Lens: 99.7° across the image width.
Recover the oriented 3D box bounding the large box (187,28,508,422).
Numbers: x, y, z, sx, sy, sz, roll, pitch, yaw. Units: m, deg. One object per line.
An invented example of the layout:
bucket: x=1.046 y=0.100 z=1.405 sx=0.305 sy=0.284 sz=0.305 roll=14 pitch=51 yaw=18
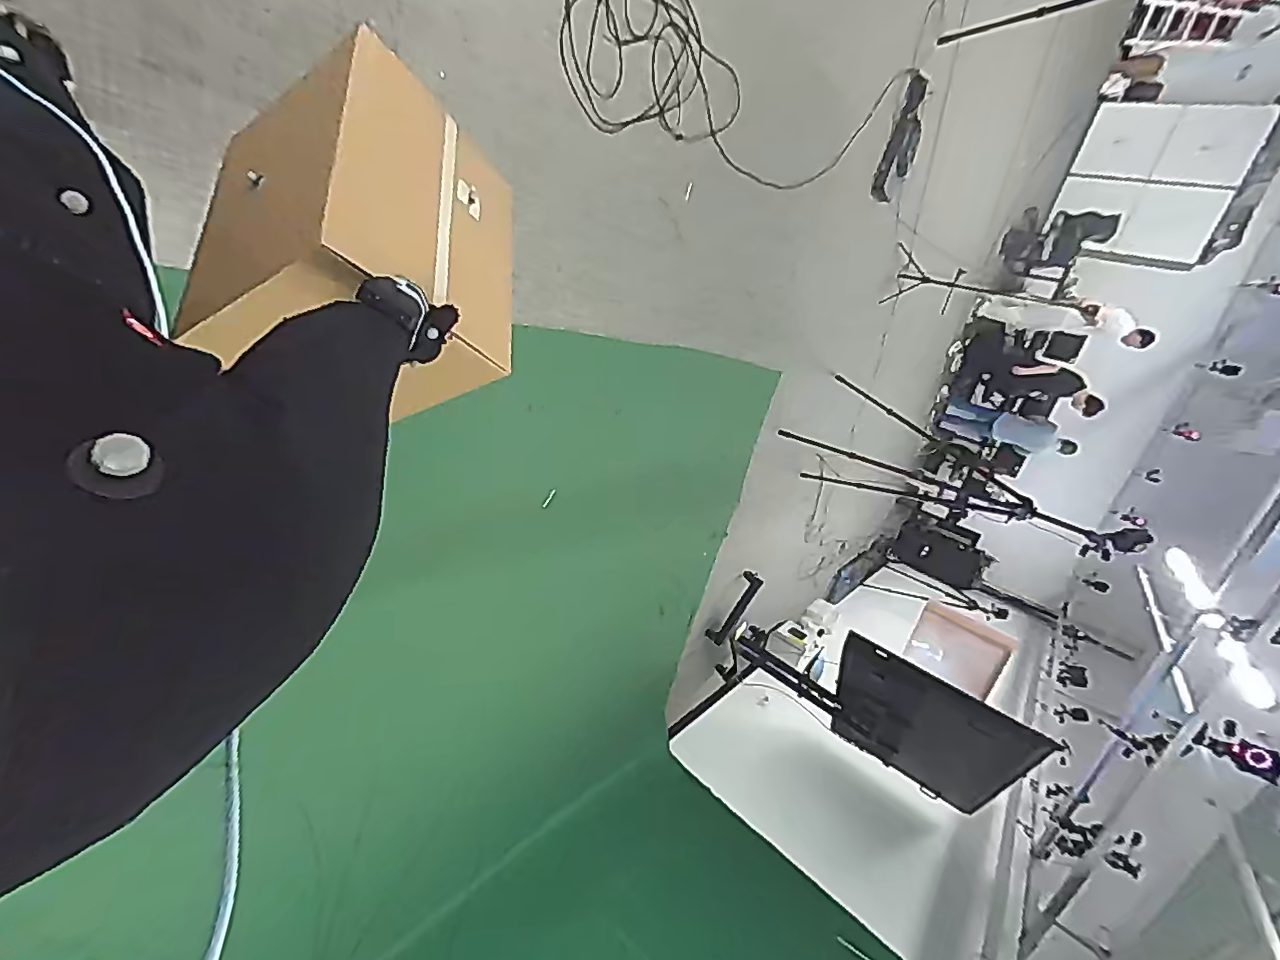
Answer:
large box: x=-0.431 y=-0.360 z=0.858 sx=0.320 sy=0.320 sz=0.408 roll=33 pitch=47 yaw=-57
